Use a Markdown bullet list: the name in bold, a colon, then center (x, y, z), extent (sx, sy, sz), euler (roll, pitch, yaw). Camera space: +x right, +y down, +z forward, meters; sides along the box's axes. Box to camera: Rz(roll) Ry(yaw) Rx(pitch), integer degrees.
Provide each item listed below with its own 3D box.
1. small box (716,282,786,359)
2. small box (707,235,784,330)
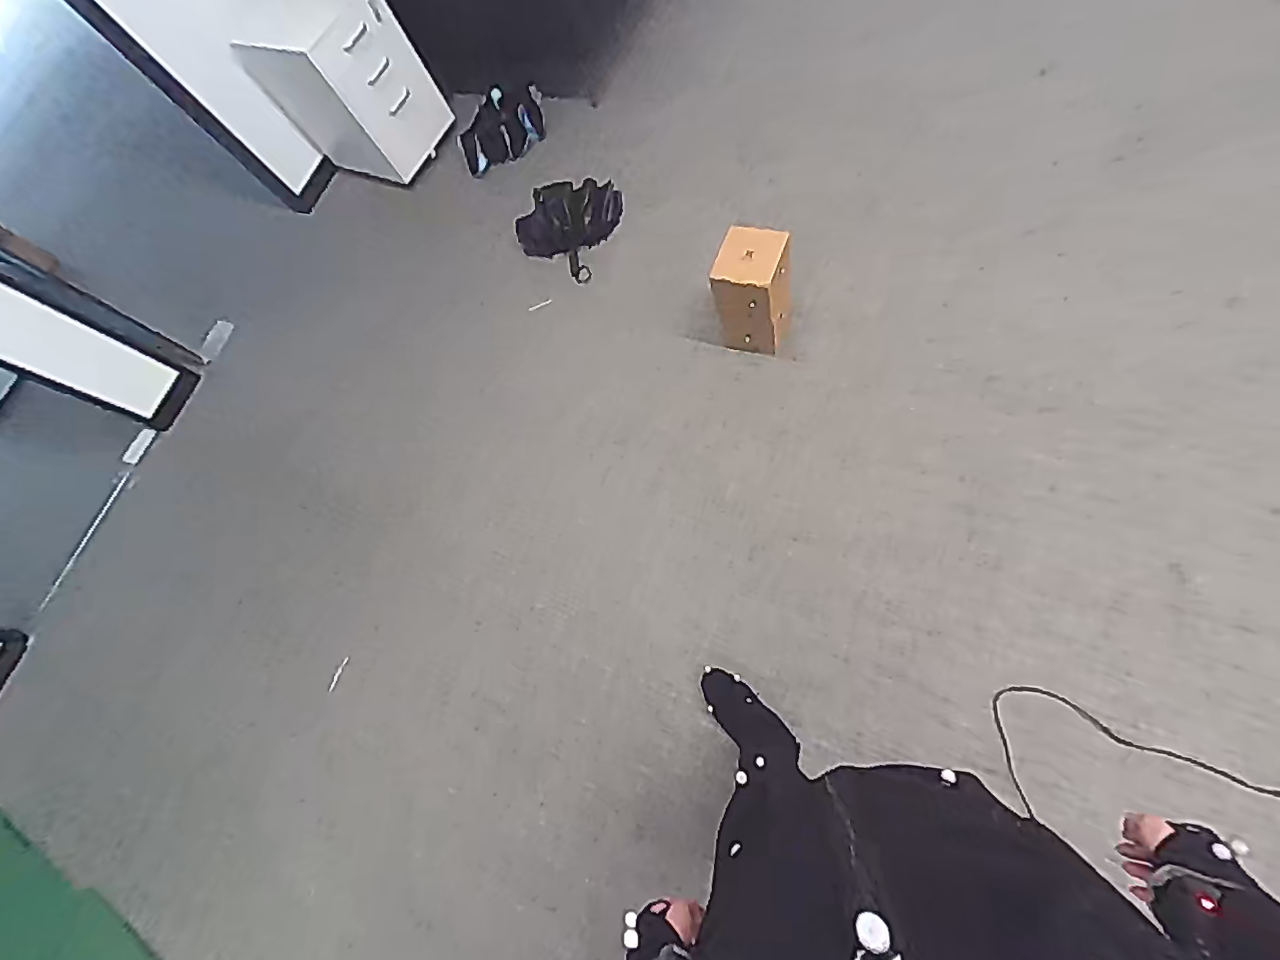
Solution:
- **small box**: center (0.347, -0.494, 1.656), extent (0.168, 0.176, 0.179), euler (15, 75, 21)
- **small box**: center (0.301, -0.546, 1.509), extent (0.168, 0.176, 0.179), euler (17, 74, 20)
